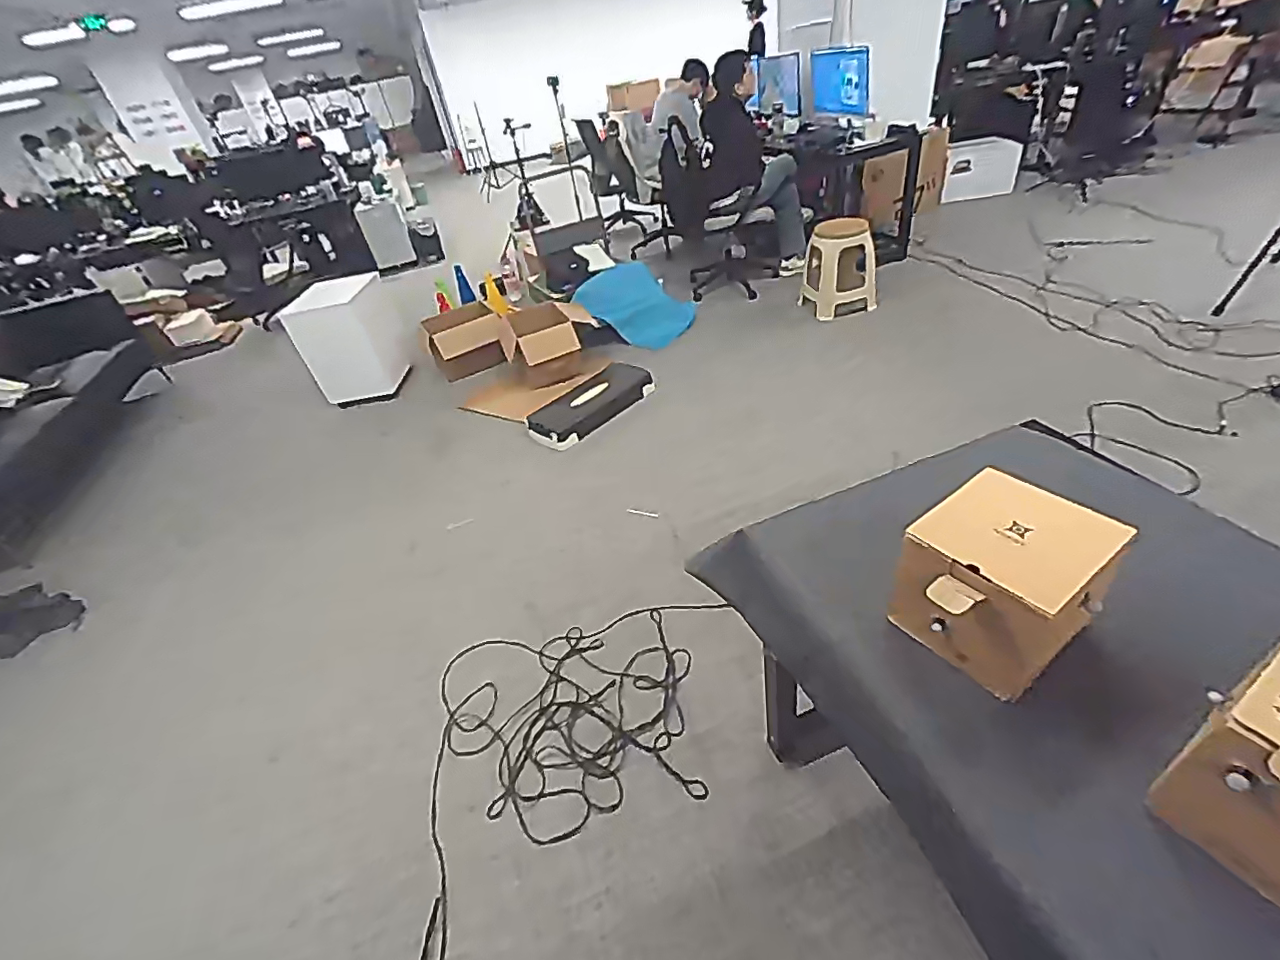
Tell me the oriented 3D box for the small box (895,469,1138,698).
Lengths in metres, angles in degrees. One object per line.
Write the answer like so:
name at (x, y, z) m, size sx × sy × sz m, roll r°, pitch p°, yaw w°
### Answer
small box at (0.440, 0.122, 0.661) m, size 0.179 × 0.176 × 0.168 m, roll -29°, pitch 42°, yaw -21°
